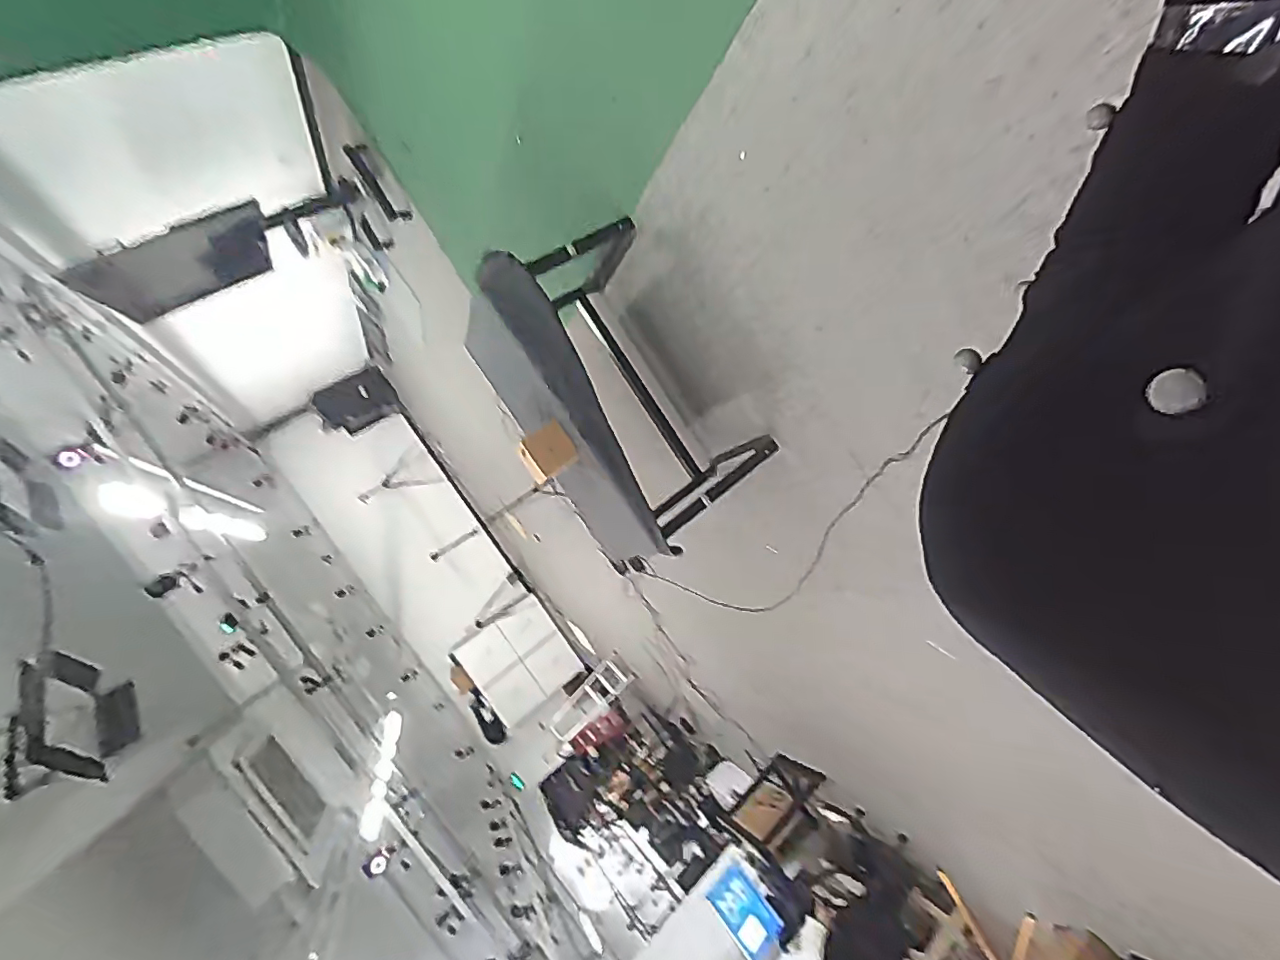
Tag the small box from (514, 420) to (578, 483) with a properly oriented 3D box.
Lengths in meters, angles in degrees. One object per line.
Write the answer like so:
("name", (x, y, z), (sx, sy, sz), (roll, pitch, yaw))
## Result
("small box", (-0.375, -0.119, 2.140), (0.179, 0.176, 0.168), (55, 157, 0))
